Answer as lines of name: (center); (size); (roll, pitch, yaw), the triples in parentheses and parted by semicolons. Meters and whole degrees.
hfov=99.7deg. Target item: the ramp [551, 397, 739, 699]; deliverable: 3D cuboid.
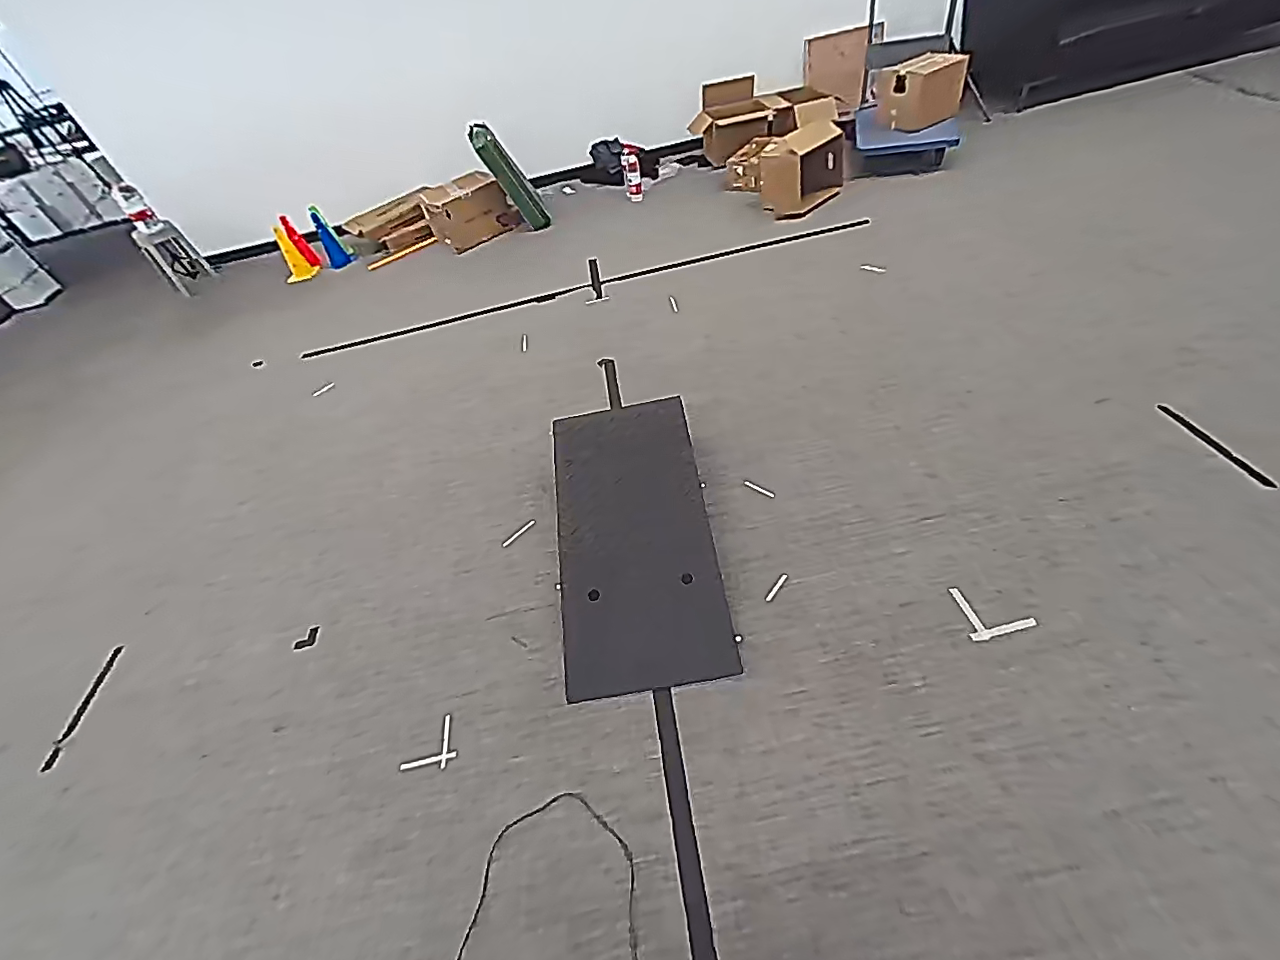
ramp: (-0.028, 0.149, 1.746); (0.509, 0.206, 0.991); (-11, 47, 1)
